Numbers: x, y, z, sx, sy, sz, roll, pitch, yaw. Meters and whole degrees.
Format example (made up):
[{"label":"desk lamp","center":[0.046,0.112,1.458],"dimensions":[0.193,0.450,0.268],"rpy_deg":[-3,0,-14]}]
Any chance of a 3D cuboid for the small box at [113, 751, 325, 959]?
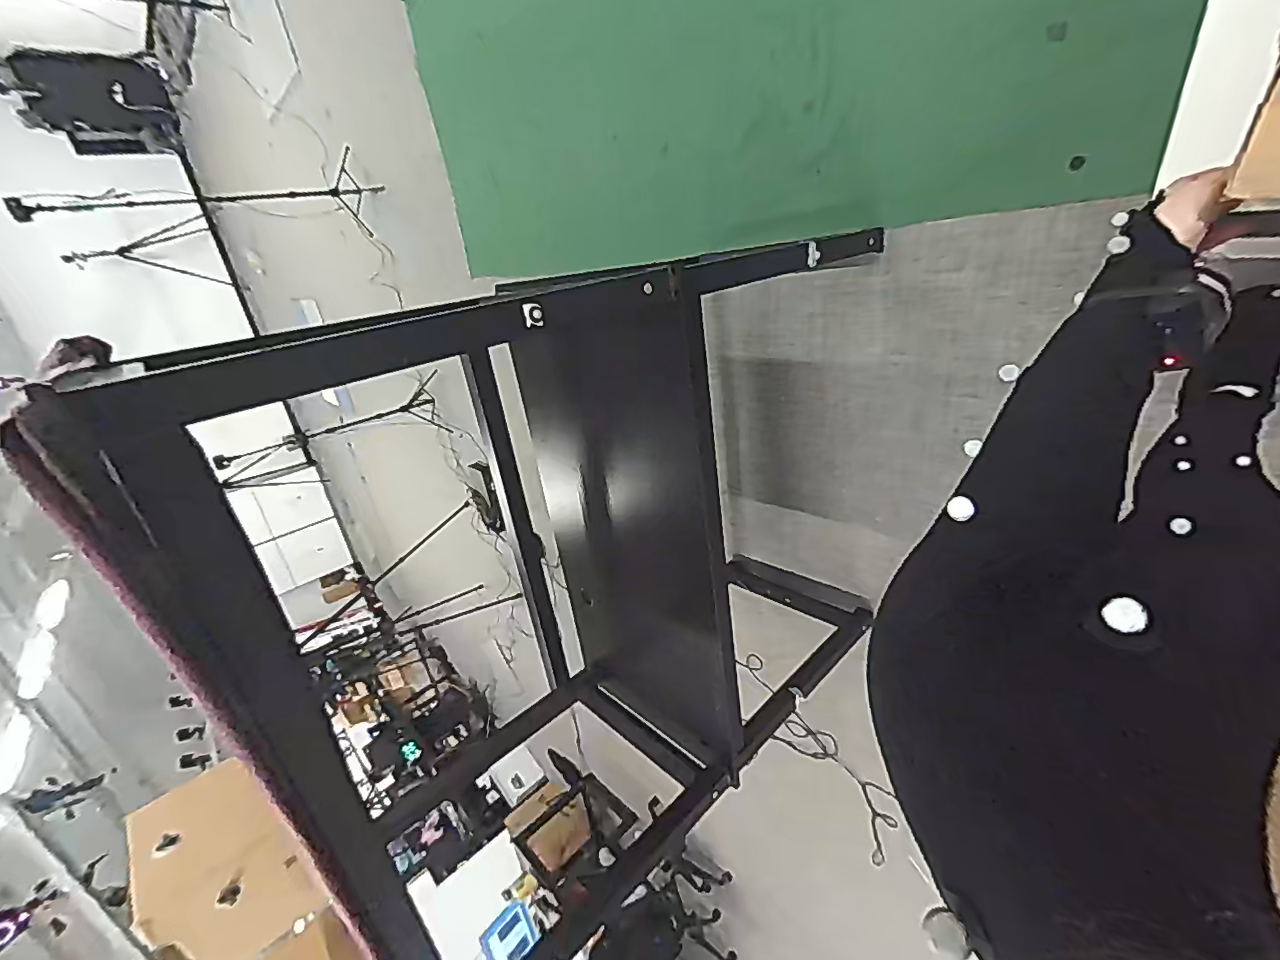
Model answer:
[{"label":"small box","center":[-0.539,0.502,0.707],"dimensions":[0.179,0.176,0.168],"rpy_deg":[20,124,44]}]
